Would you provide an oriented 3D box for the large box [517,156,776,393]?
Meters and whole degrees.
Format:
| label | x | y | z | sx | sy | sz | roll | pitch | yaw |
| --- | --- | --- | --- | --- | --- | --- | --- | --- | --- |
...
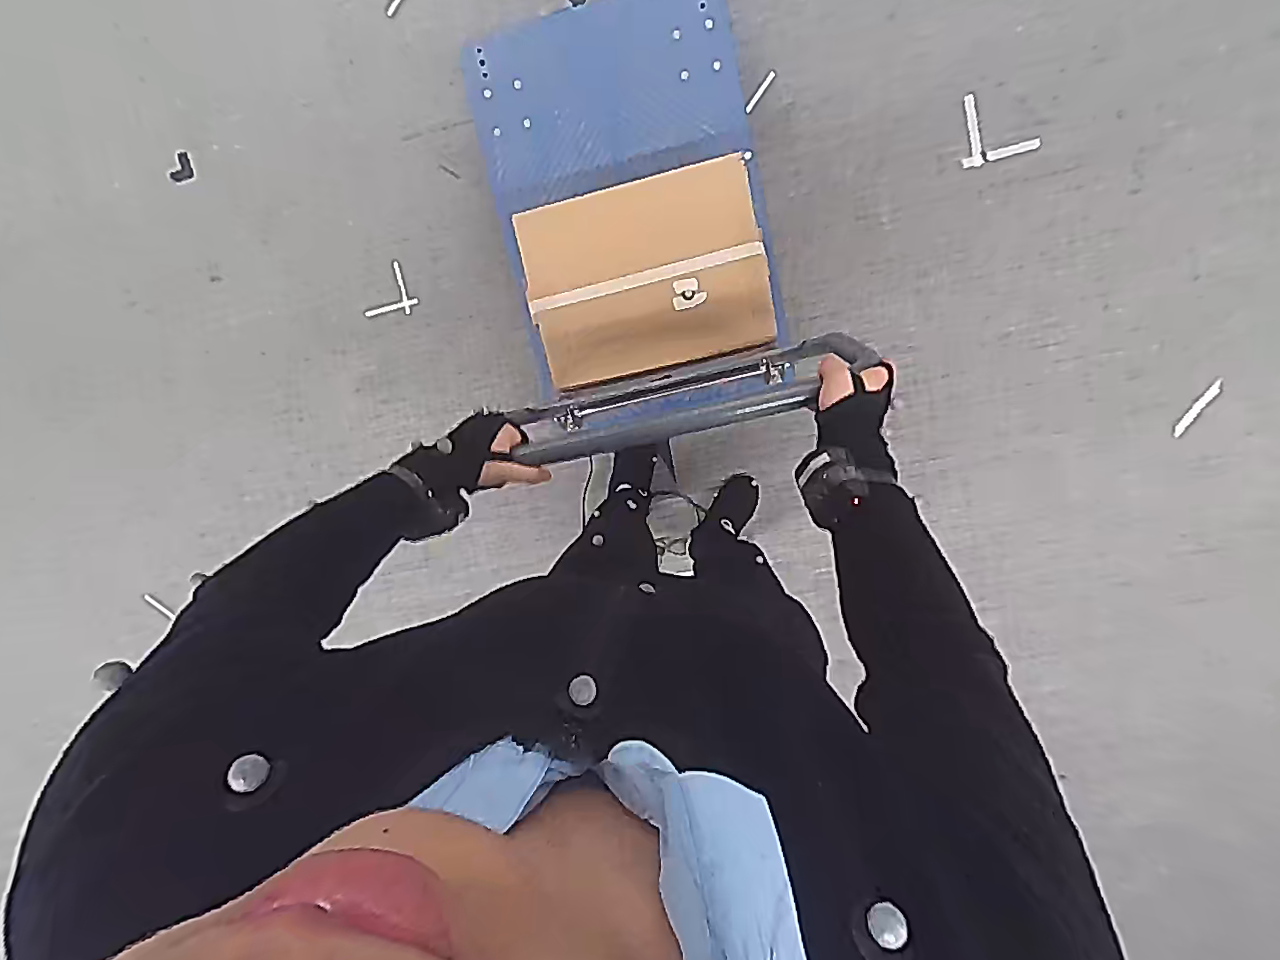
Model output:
| label | x | y | z | sx | sy | sz | roll | pitch | yaw |
| --- | --- | --- | --- | --- | --- | --- | --- | --- | --- |
| large box | 0.019 | -0.372 | 1.086 | 0.408 | 0.320 | 0.320 | -13 | 99 | 5 |
